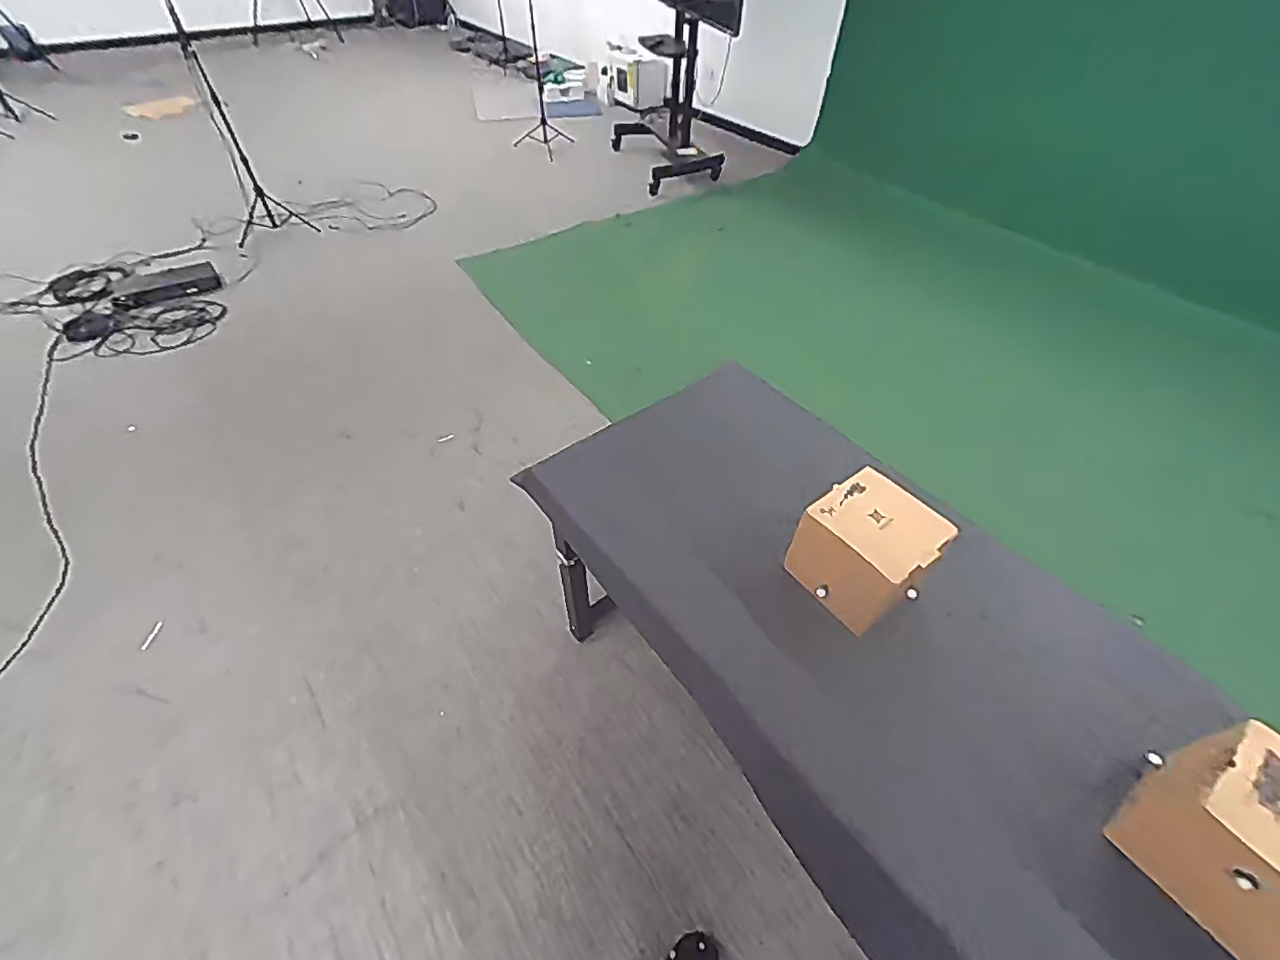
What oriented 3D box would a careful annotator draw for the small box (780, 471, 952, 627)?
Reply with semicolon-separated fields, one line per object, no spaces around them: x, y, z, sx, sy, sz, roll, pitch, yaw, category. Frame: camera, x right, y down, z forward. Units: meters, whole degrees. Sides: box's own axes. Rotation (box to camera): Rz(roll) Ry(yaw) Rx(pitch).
0.369;0.123;0.912;0.168;0.176;0.179;-28;56;-27;small box

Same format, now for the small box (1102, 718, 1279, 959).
0.726;0.434;0.654;0.168;0.176;0.179;-27;55;-26;small box
